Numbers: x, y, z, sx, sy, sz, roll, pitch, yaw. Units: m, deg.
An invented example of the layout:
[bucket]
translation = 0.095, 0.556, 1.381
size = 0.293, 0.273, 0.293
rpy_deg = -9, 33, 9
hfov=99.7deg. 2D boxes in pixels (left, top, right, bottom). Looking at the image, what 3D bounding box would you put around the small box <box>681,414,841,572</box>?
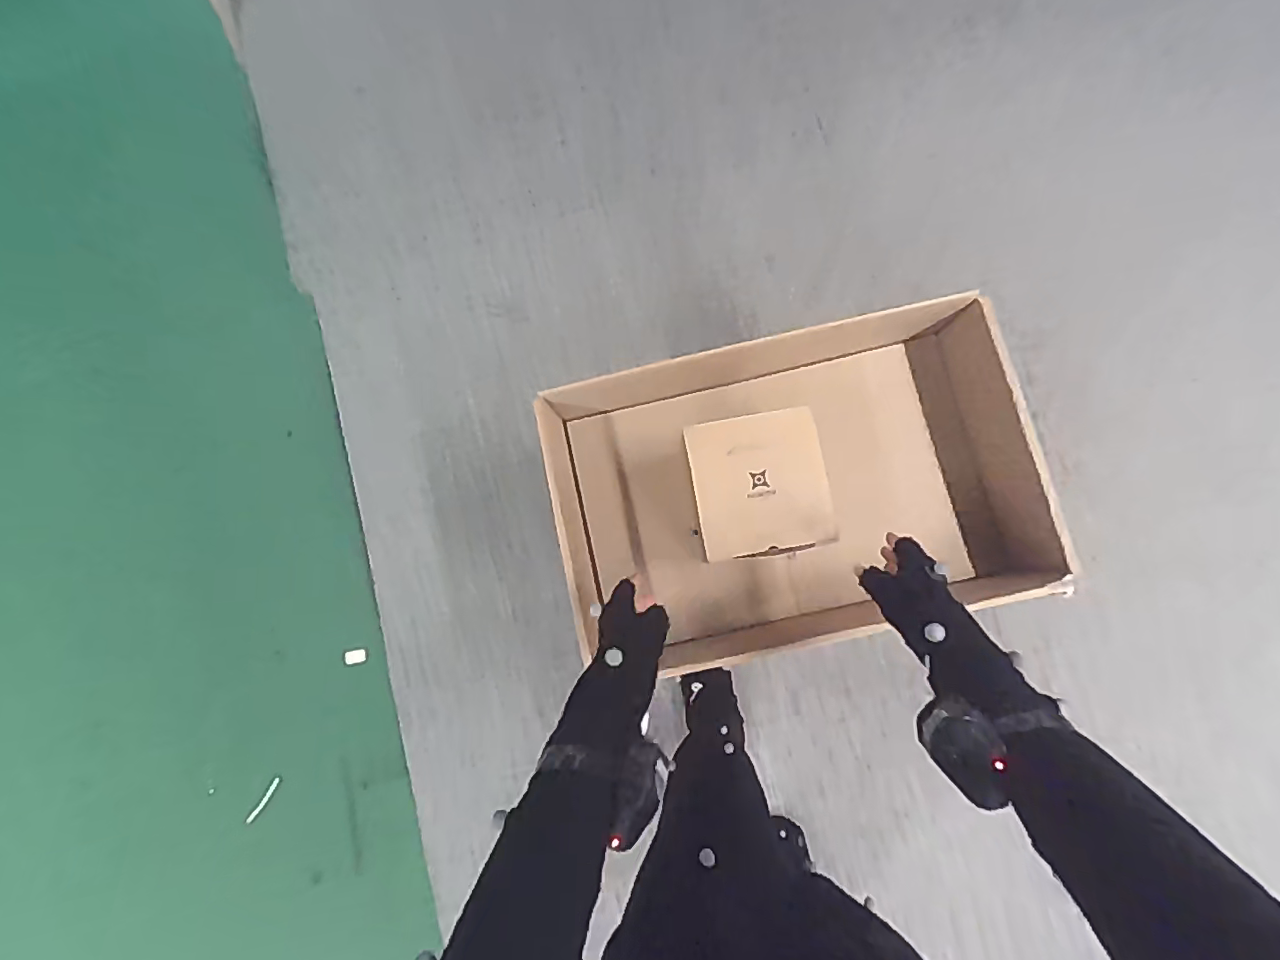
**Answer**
[small box]
translation = 0.153, 0.026, 0.746
size = 0.168, 0.176, 0.179
rpy_deg = -11, 80, 0
